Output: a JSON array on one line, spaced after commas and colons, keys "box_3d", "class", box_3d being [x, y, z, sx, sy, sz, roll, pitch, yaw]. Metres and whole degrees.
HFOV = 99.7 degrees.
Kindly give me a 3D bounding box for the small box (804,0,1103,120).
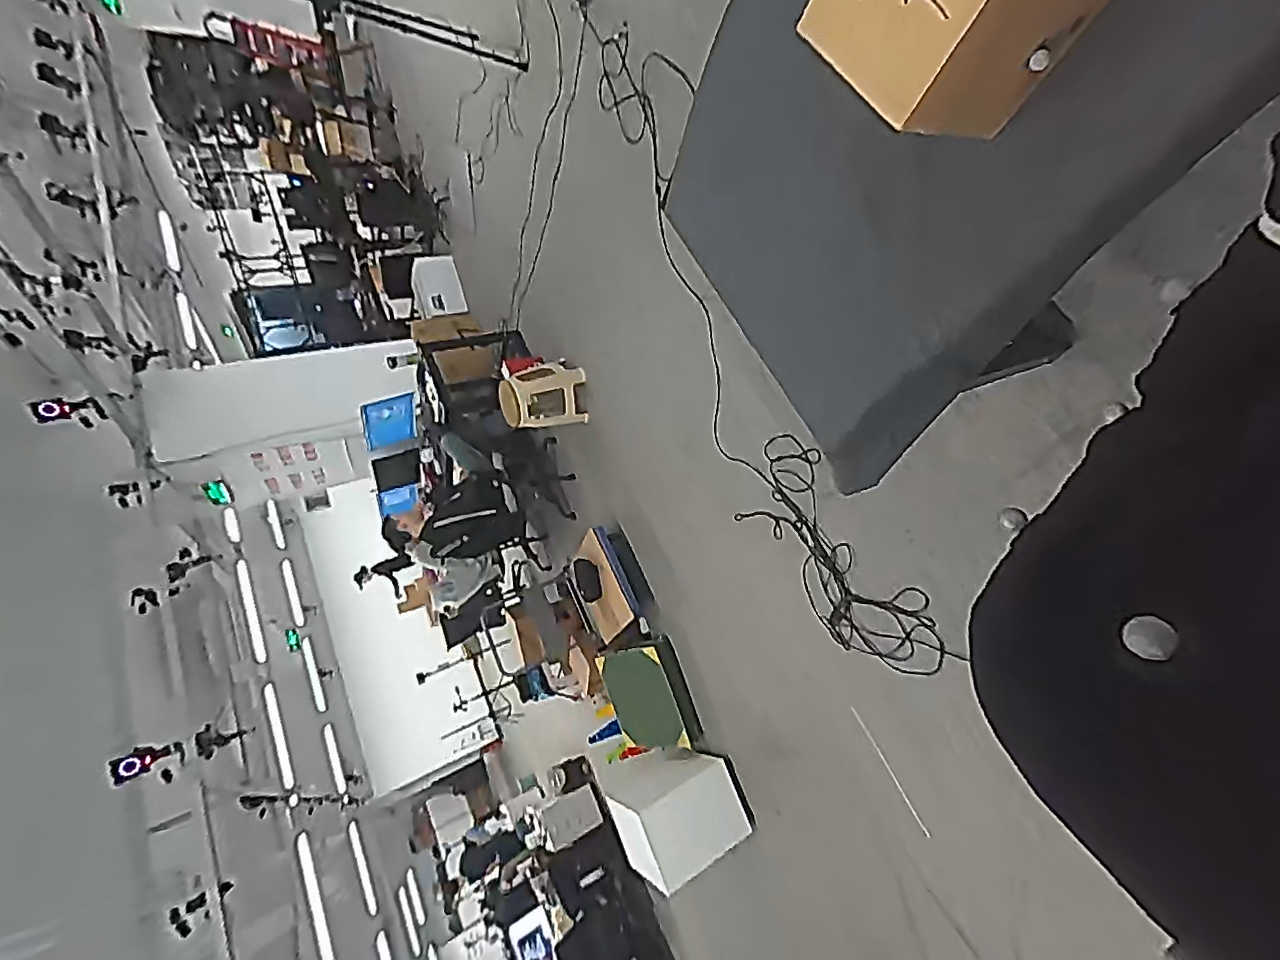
[{"box_3d": [0.298, -0.466, 0.504, 0.179, 0.176, 0.168, 62, 151, 19], "class": "small box"}]
